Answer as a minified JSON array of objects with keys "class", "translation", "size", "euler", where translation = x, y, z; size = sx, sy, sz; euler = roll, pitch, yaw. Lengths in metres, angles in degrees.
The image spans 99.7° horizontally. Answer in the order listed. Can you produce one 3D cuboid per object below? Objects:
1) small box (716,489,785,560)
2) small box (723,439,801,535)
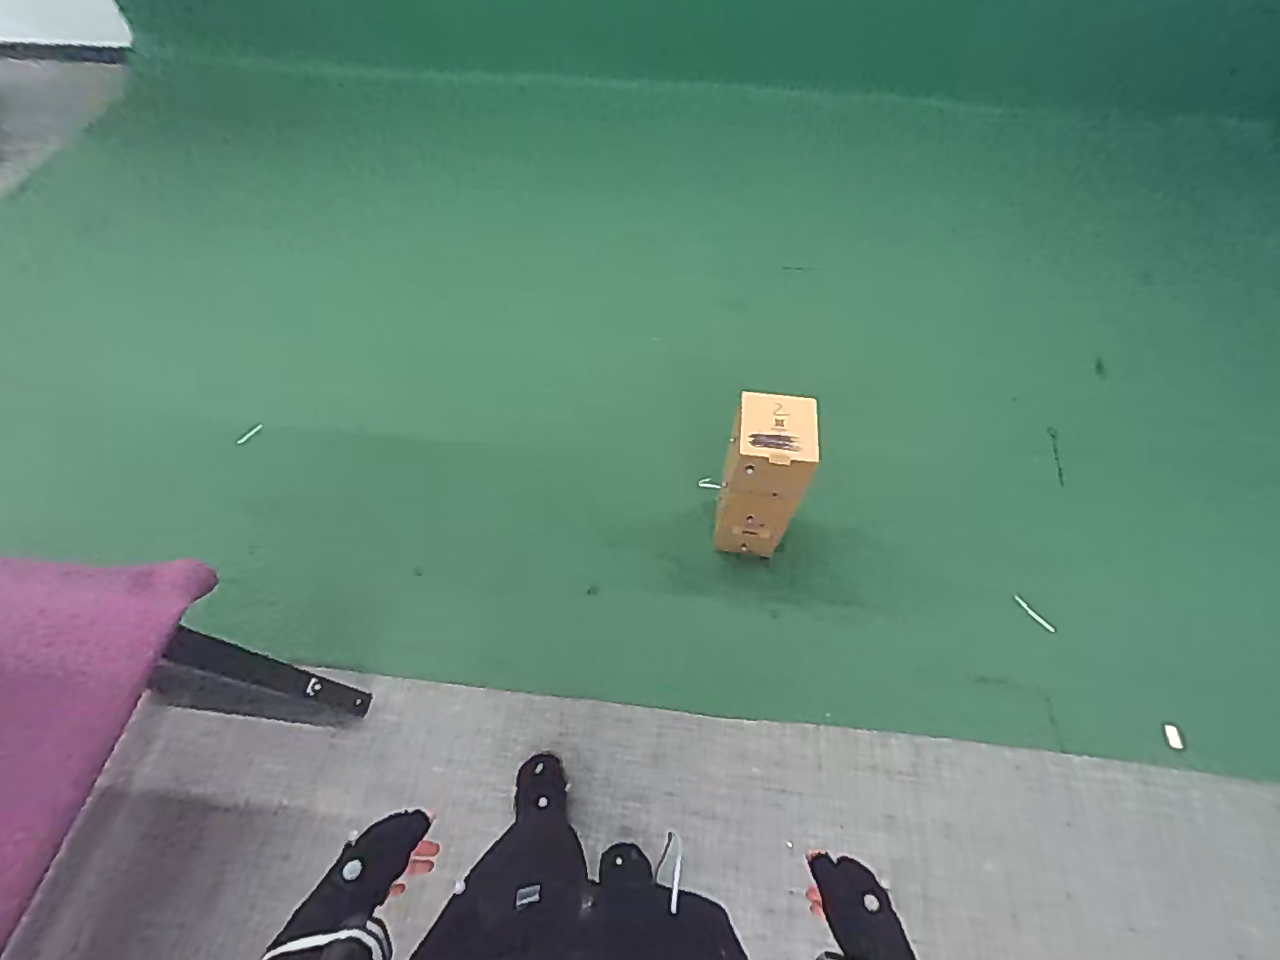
[{"class":"small box","translation":[0.308,0.104,1.513],"size":[0.168,0.176,0.179],"euler":[7,59,5]},{"class":"small box","translation":[0.306,0.020,1.374],"size":[0.168,0.176,0.179],"euler":[6,60,4]}]
